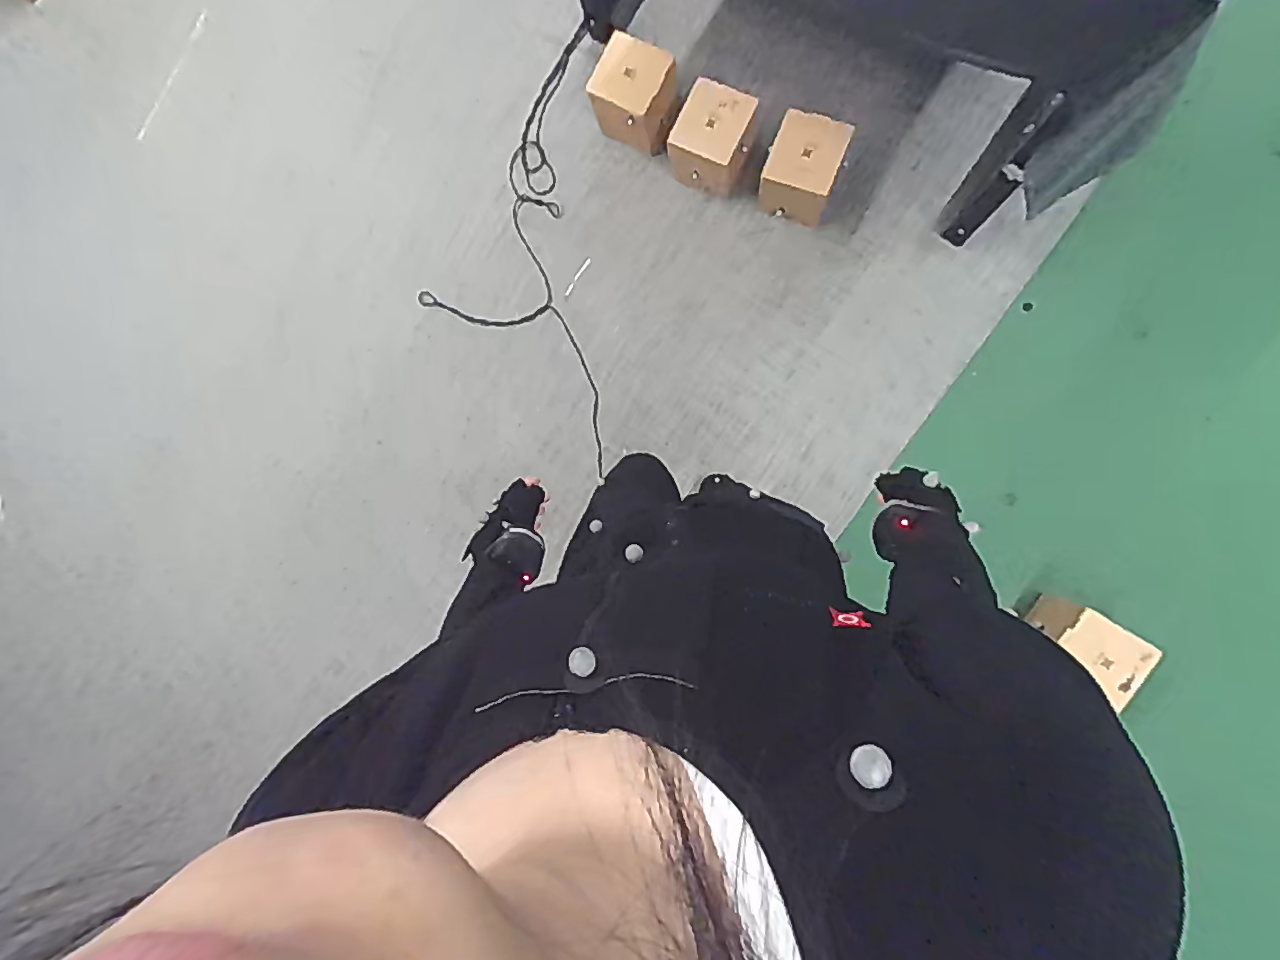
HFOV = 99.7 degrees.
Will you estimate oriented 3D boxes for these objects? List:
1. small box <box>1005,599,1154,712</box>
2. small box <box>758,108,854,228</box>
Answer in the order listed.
[{"bbox_3d":[1.005,0.395,1.259,0.179,0.176,0.168,34,95,8],"label":"small box"},{"bbox_3d":[0.402,-0.768,1.347,0.168,0.176,0.179,23,93,8],"label":"small box"}]
